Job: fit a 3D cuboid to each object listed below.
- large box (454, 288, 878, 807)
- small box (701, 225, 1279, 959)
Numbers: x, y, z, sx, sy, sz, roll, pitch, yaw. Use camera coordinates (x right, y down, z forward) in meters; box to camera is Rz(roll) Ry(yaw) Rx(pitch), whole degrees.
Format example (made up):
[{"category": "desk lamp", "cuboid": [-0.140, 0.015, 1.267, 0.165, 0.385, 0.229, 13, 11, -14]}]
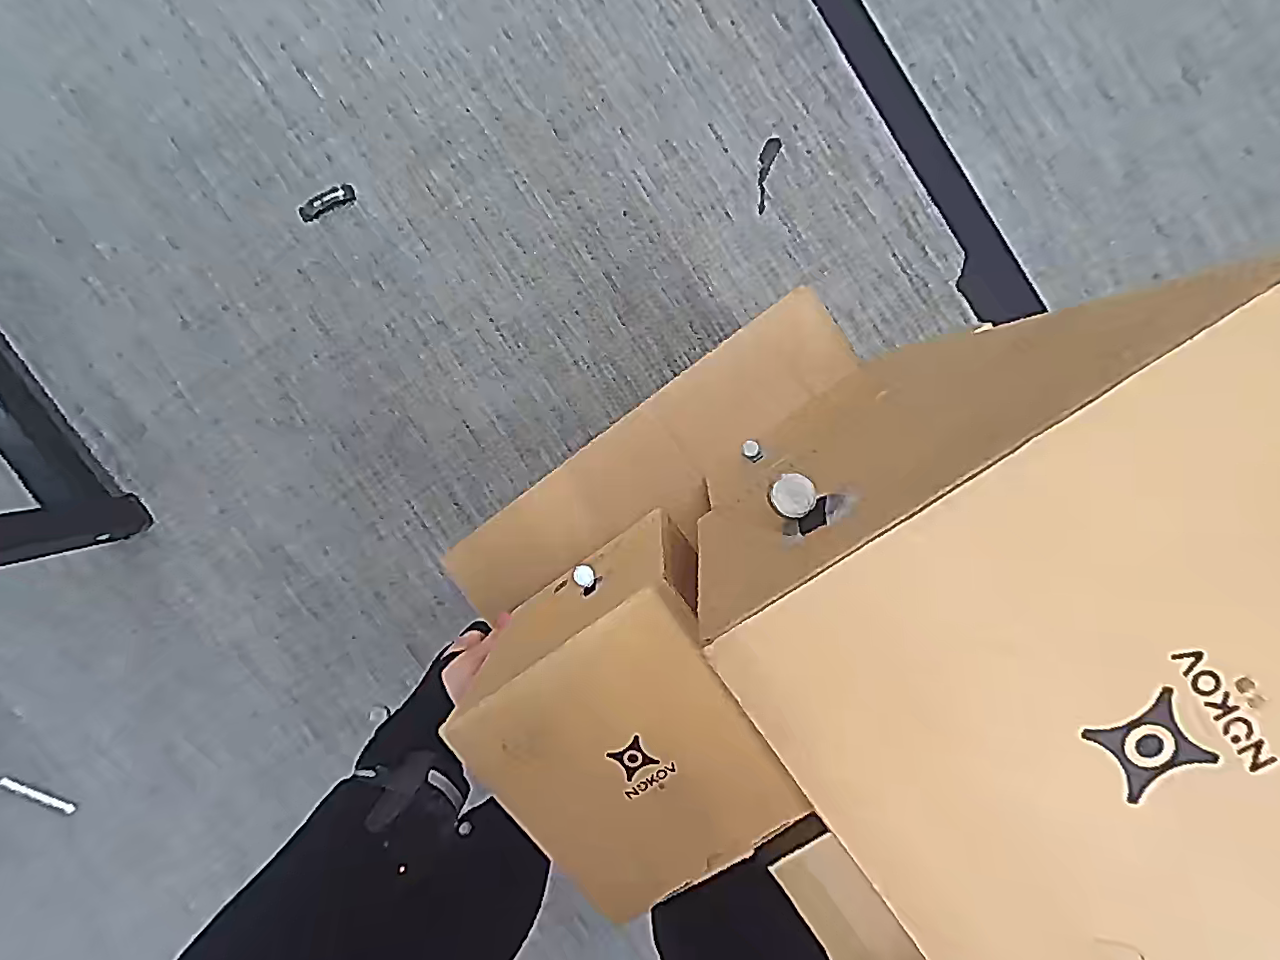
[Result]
[{"category": "large box", "cuboid": [0.084, 0.056, 0.627, 0.408, 0.320, 0.320, -37, 92, 8]}, {"category": "small box", "cuboid": [0.141, 0.044, 0.210, 0.179, 0.176, 0.168, -36, 93, 9]}]
